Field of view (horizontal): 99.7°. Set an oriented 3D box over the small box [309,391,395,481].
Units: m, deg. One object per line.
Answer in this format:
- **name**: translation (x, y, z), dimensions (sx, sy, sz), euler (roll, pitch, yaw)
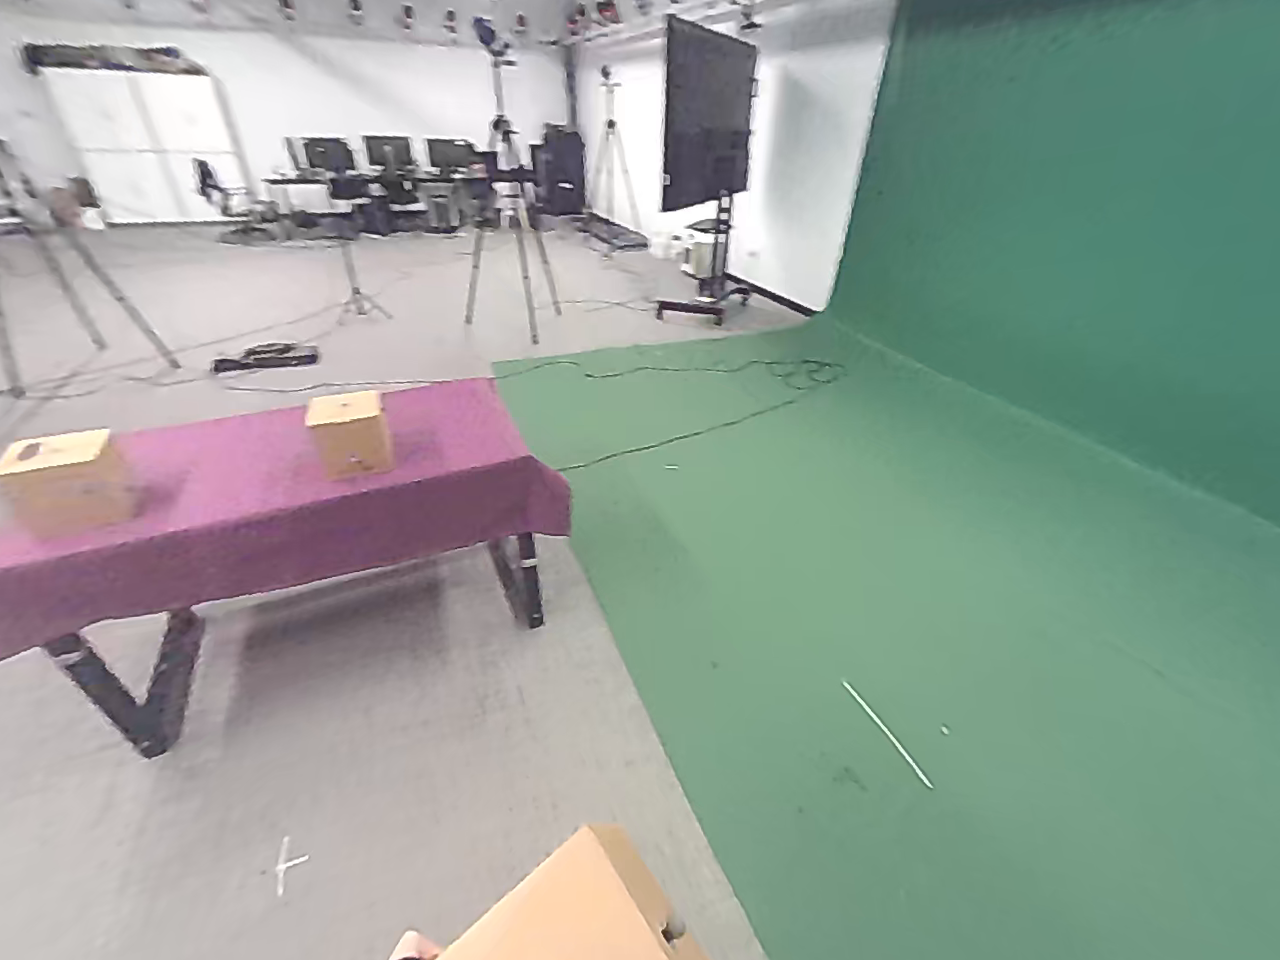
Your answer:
- **small box**: translation (-0.770, -0.121, 1.460), dimensions (0.168, 0.176, 0.179), euler (-12, 37, -19)
